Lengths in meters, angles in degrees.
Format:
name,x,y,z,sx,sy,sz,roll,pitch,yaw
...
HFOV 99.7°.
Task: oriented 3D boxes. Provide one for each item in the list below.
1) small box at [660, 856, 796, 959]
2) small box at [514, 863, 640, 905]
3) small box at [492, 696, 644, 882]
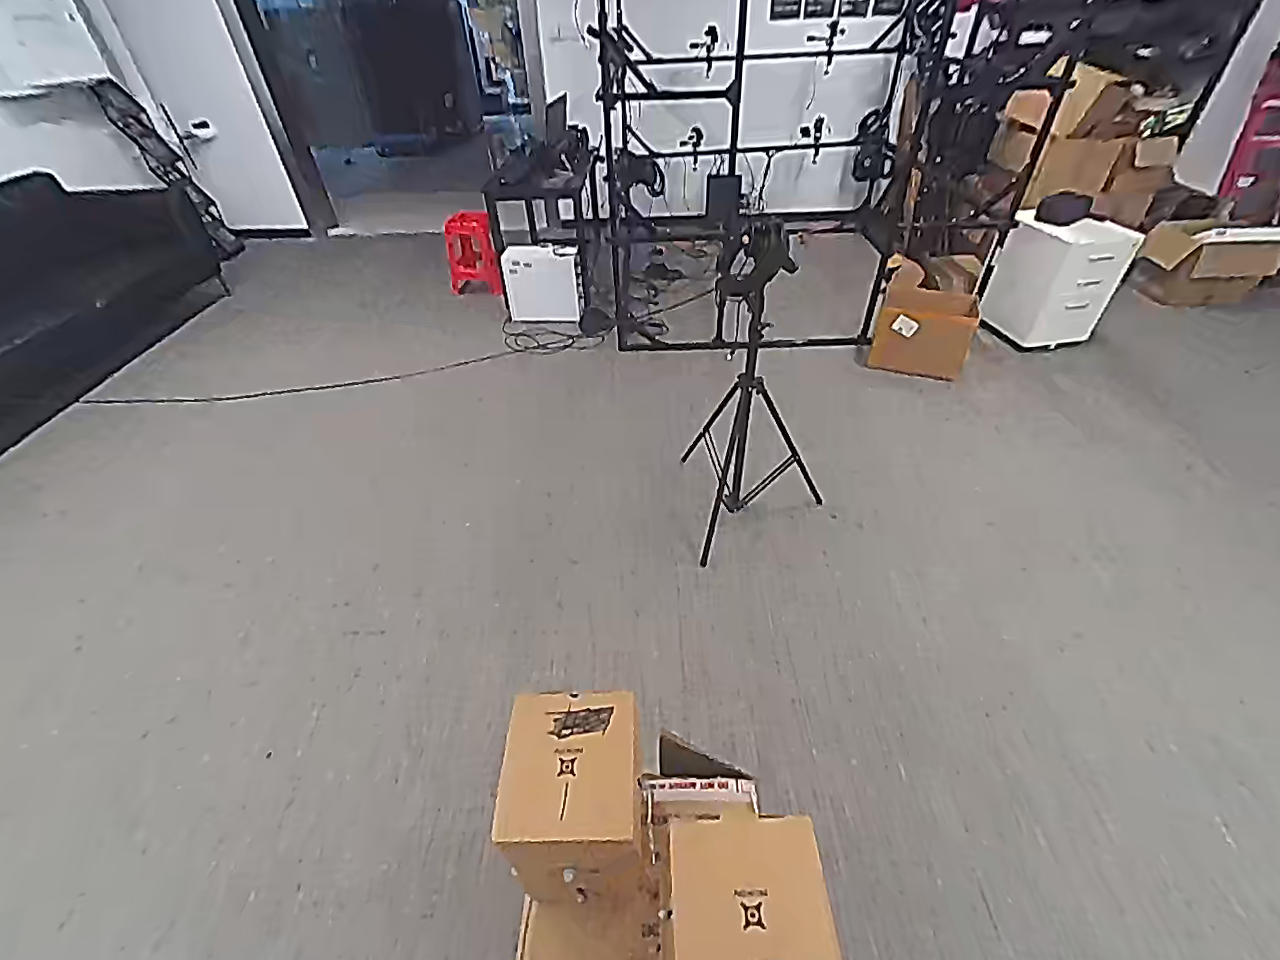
name,x,y,z,sx,sy,sz,roll,pitch,yaw
small box,0.111,0.626,0.723,0.168,0.176,0.179,-1,42,0
small box,-0.089,0.530,0.838,0.168,0.176,0.179,-5,43,0
small box,-0.082,0.411,0.723,0.168,0.176,0.179,-2,43,3
